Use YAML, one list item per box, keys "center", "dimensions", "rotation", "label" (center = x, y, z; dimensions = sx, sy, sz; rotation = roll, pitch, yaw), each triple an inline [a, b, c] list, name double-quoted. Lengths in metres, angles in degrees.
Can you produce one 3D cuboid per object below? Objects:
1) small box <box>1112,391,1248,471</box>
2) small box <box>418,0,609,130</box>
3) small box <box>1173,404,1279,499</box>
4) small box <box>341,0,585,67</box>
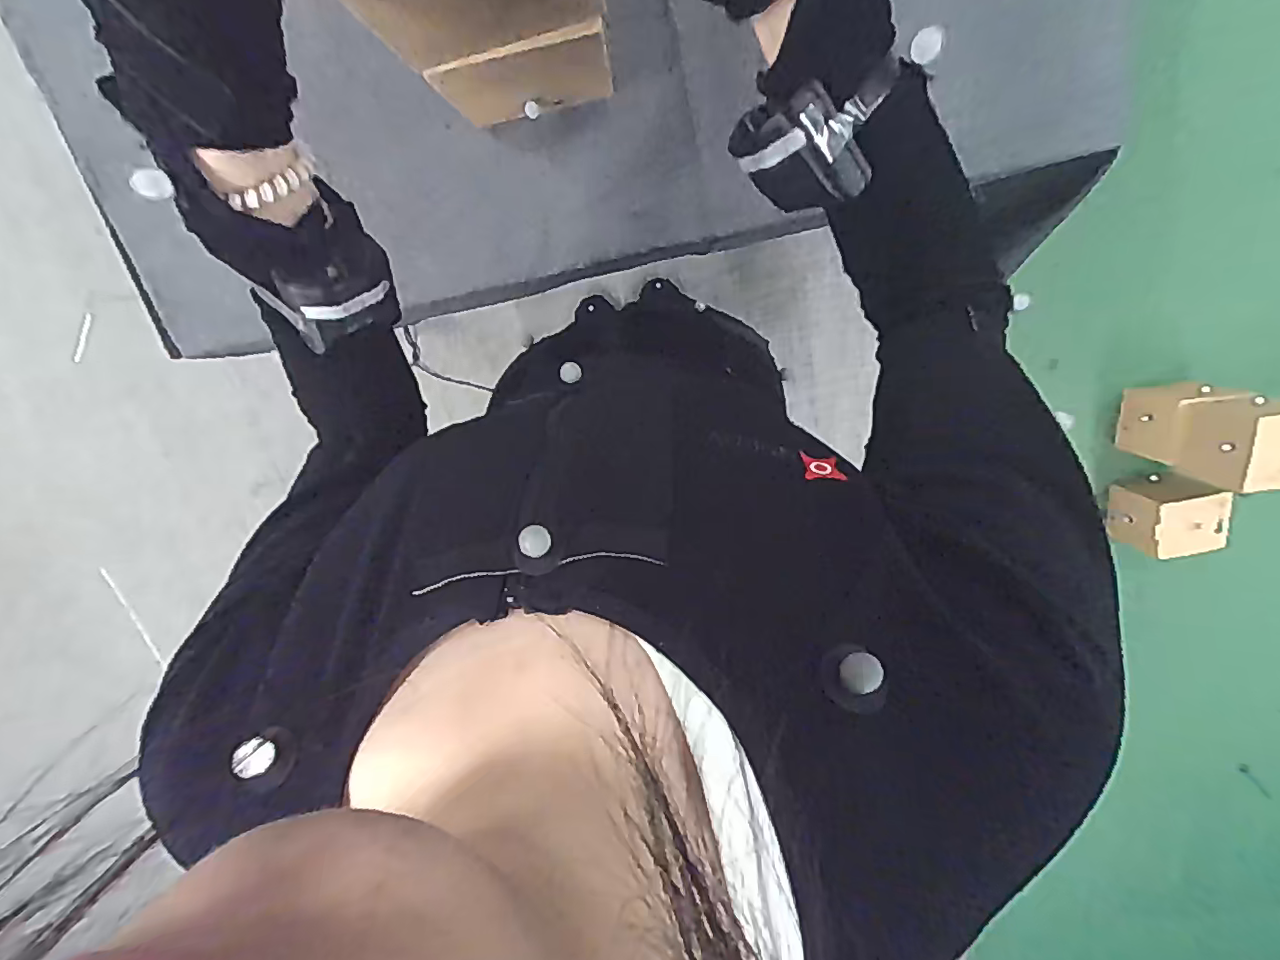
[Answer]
- center: [1.378, -0.131, 1.394]
  dimensions: [0.179, 0.176, 0.168]
  rotation: [-6, 108, 2]
  label: "small box"
- center: [-0.129, -0.472, 0.519]
  dimensions: [0.168, 0.176, 0.179]
  rotation: [-10, 109, 4]
  label: "small box"
- center: [1.389, -0.073, 1.240]
  dimensions: [0.168, 0.176, 0.179]
  rotation: [-7, 108, 2]
  label: "small box"
- center: [-0.134, -0.423, 0.363]
  dimensions: [0.179, 0.176, 0.168]
  rotation: [-12, 107, 5]
  label: "small box"
